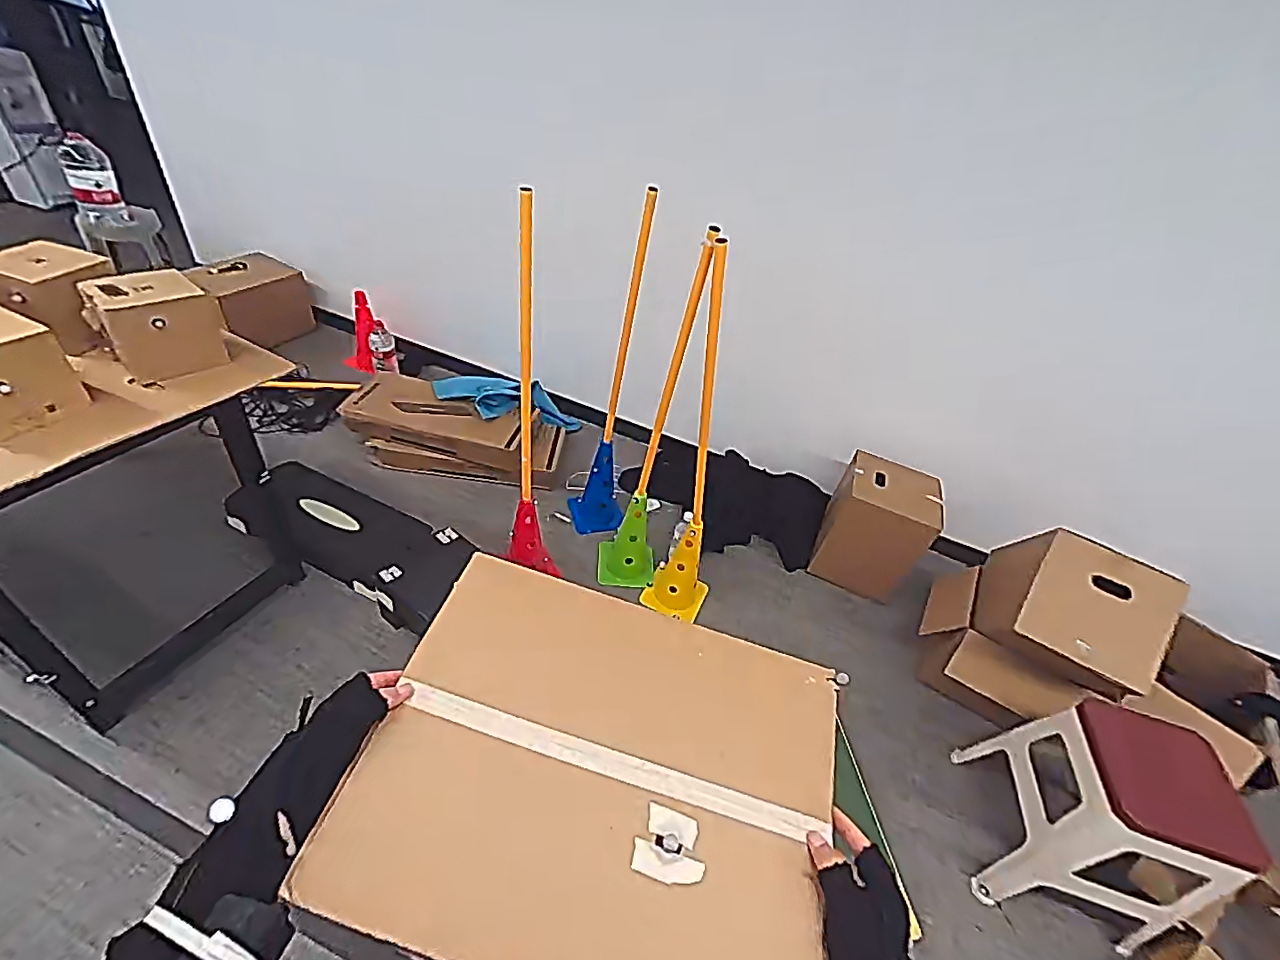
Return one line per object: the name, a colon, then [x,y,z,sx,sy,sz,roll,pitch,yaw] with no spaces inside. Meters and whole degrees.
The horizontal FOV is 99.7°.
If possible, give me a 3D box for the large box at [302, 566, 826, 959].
large box: [-0.054,0.354,0.598,0.408,0.320,0.320,18,49,3]
